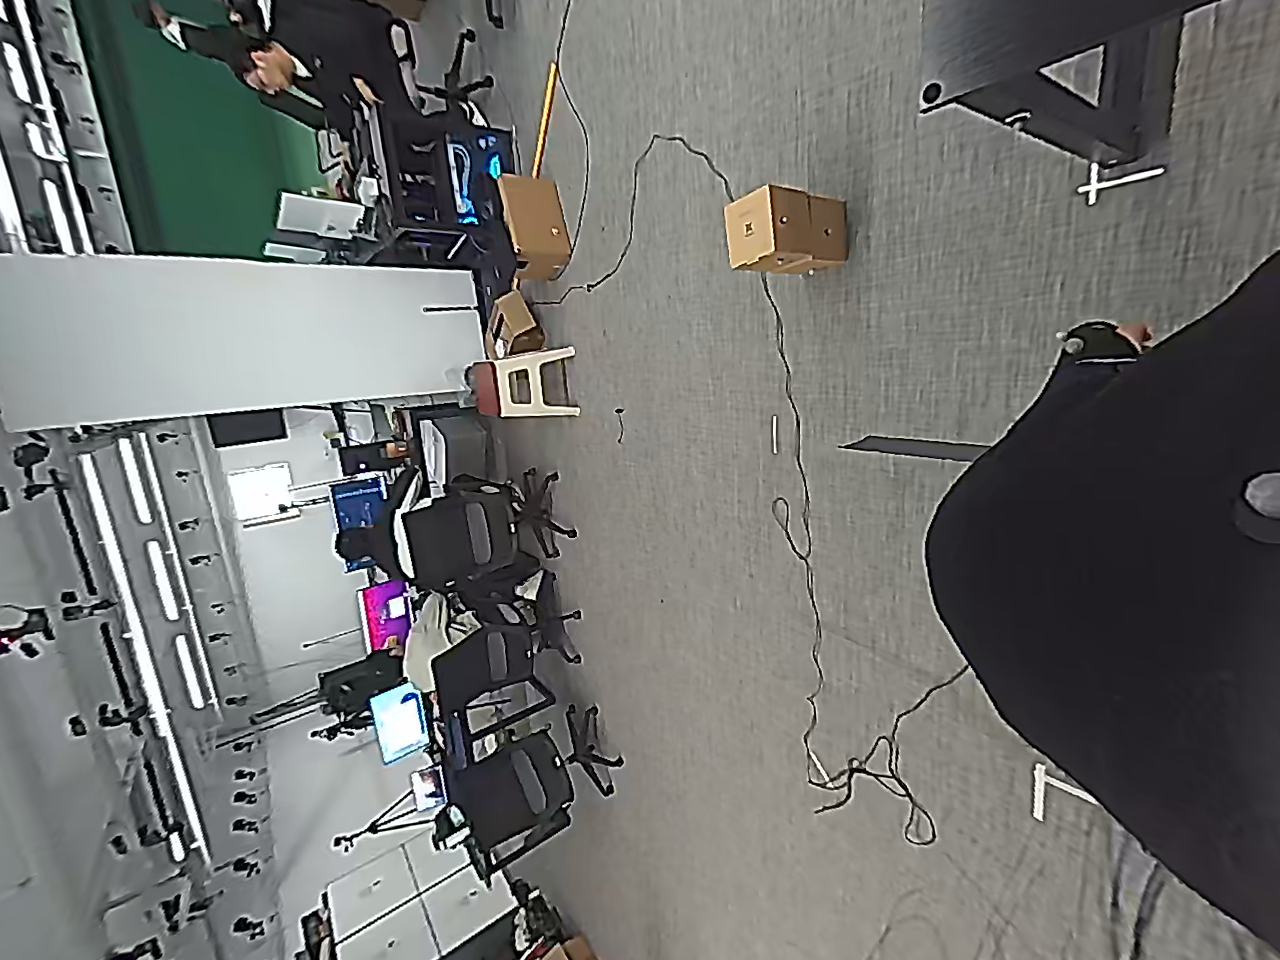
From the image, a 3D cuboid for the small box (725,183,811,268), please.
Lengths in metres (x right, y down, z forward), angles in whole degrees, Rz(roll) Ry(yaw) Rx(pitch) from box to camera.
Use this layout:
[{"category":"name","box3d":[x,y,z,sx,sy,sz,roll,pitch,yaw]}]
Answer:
[{"category":"small box","box3d":[0.364,-0.709,1.527,0.168,0.176,0.179,2,102,54]}]

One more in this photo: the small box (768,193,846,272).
[{"category":"small box","box3d":[0.497,-0.733,1.619,0.168,0.176,0.179,8,108,54]}]
